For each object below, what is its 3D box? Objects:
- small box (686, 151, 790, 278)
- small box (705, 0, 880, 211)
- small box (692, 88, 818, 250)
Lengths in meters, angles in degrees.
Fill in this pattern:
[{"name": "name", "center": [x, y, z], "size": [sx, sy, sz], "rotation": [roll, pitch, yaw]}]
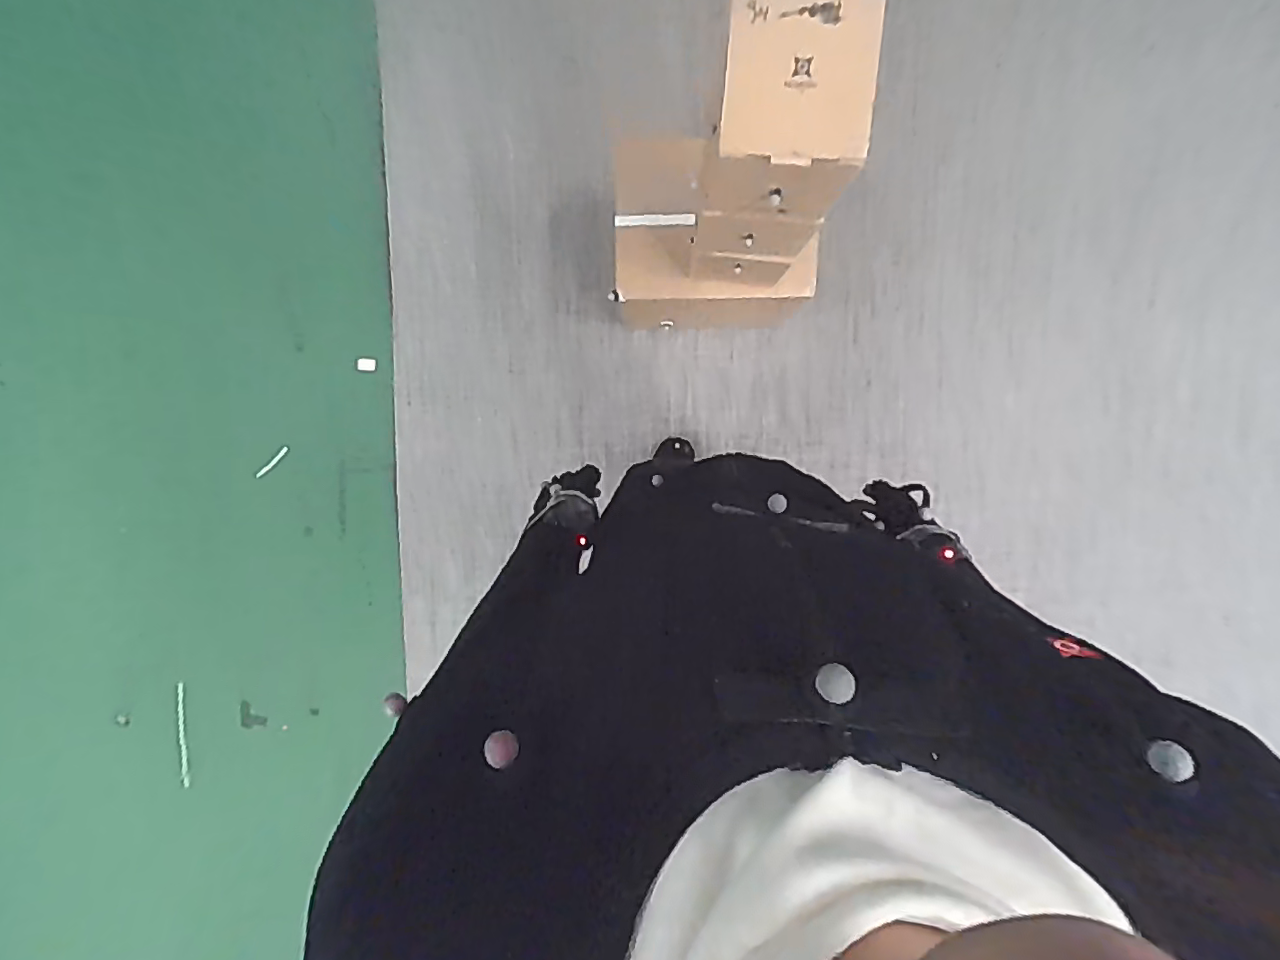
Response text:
[{"name": "small box", "center": [0.181, -0.482, 1.001], "size": [0.179, 0.176, 0.168], "rotation": [6, 98, 0]}, {"name": "small box", "center": [0.174, -0.457, 0.674], "size": [0.168, 0.176, 0.179], "rotation": [5, 98, 2]}, {"name": "small box", "center": [0.177, -0.467, 0.838], "size": [0.179, 0.176, 0.168], "rotation": [6, 97, 4]}]
